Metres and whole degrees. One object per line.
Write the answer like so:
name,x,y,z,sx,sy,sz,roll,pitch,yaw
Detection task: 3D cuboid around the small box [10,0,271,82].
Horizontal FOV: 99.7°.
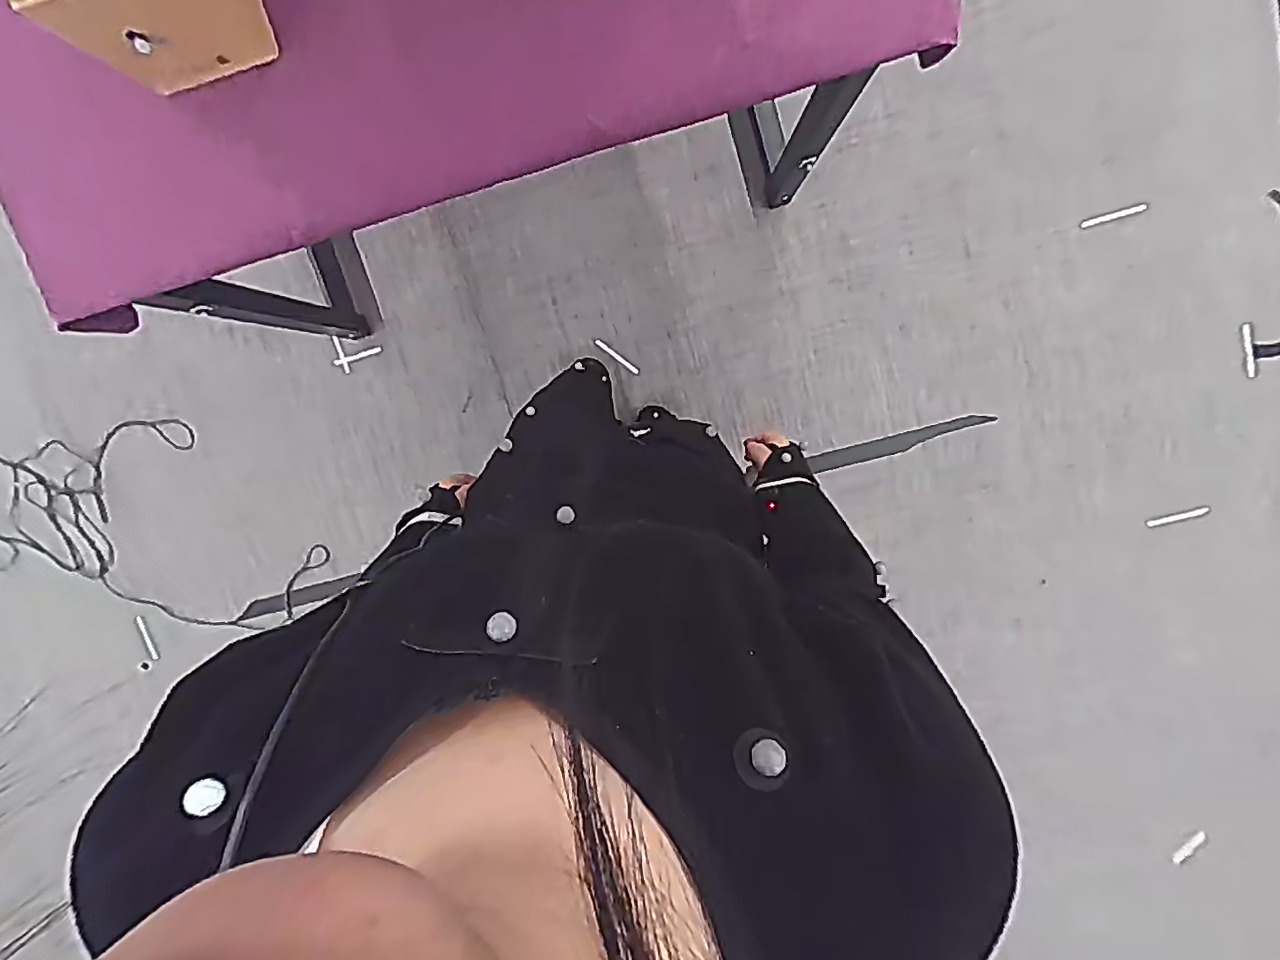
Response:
small box,-0.549,-0.574,0.584,0.168,0.176,0.179,-14,98,5
